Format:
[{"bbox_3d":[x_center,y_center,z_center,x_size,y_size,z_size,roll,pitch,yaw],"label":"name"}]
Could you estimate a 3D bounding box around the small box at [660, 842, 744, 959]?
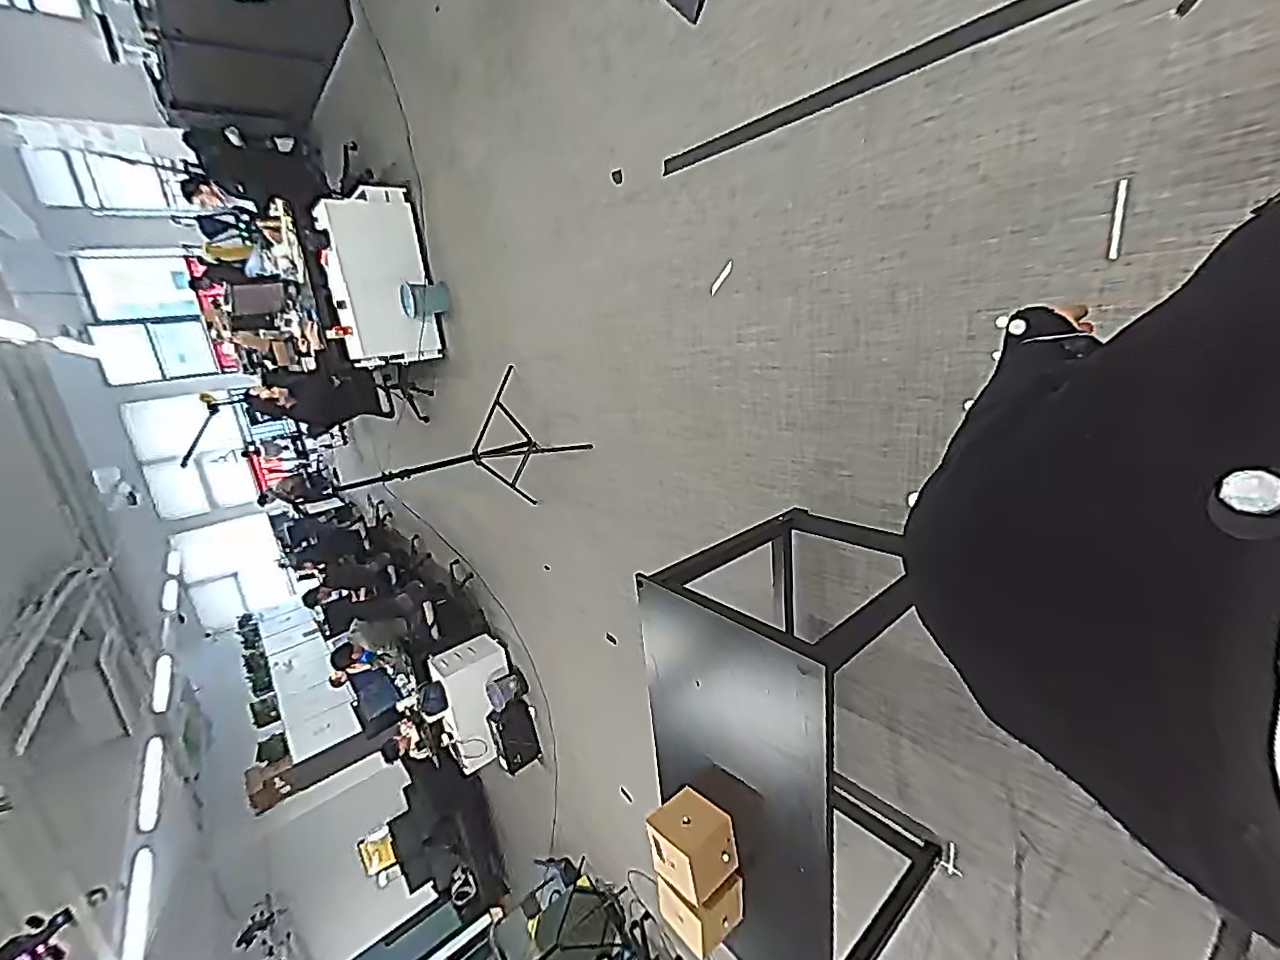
[{"bbox_3d":[0.180,1.185,1.535,0.179,0.176,0.168,19,118,49],"label":"small box"}]
